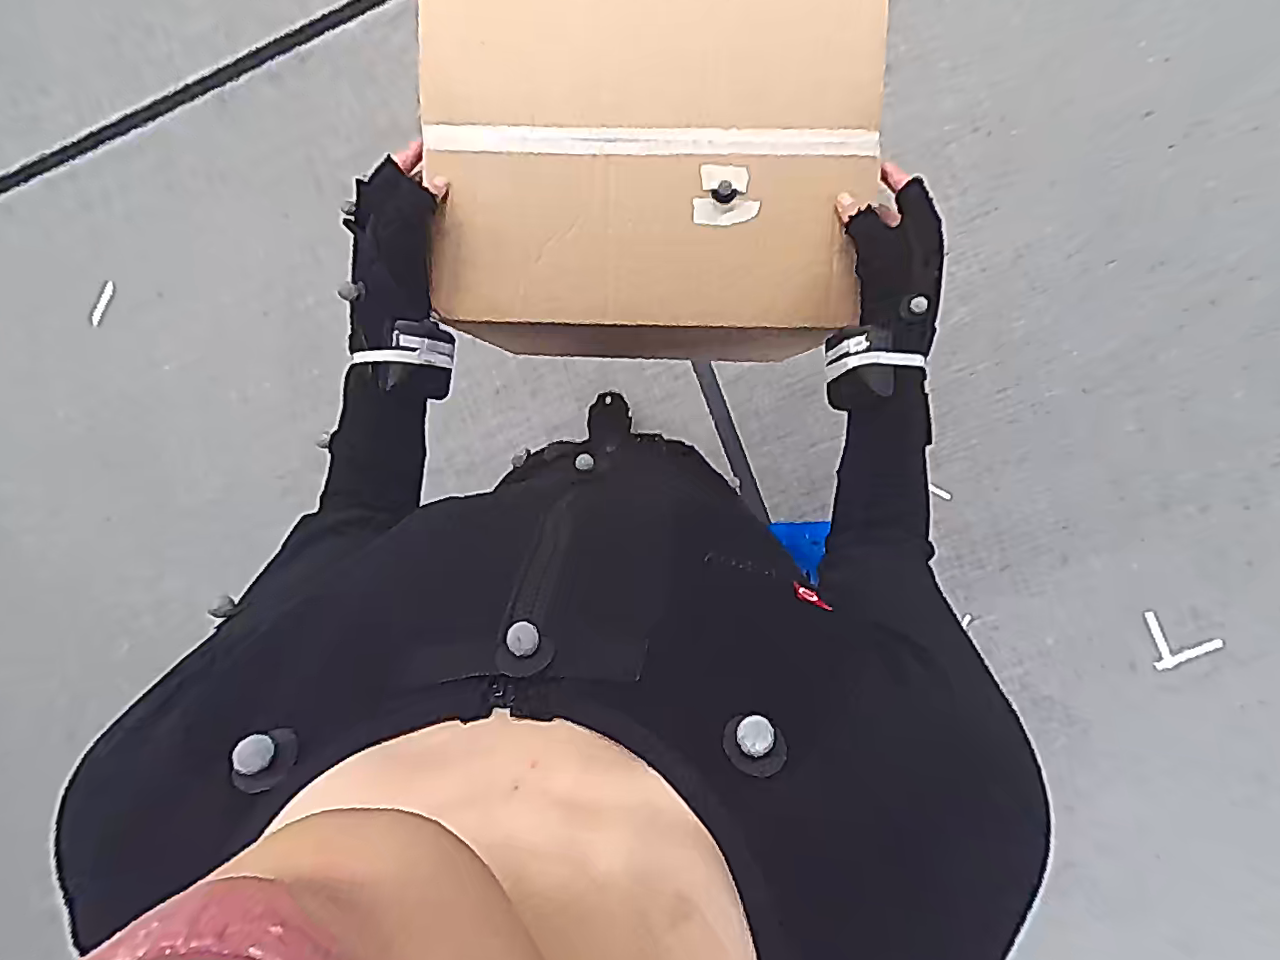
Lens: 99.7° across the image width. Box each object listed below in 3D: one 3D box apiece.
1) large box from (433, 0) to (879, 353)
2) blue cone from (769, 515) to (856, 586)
[{"bbox_3d":[0.010,-0.328,0.639,0.408,0.320,0.320,2,97,0],"label":"large box"},{"bbox_3d":[0.438,0.198,1.293,0.193,0.380,0.192,-1,93,3],"label":"blue cone"}]
